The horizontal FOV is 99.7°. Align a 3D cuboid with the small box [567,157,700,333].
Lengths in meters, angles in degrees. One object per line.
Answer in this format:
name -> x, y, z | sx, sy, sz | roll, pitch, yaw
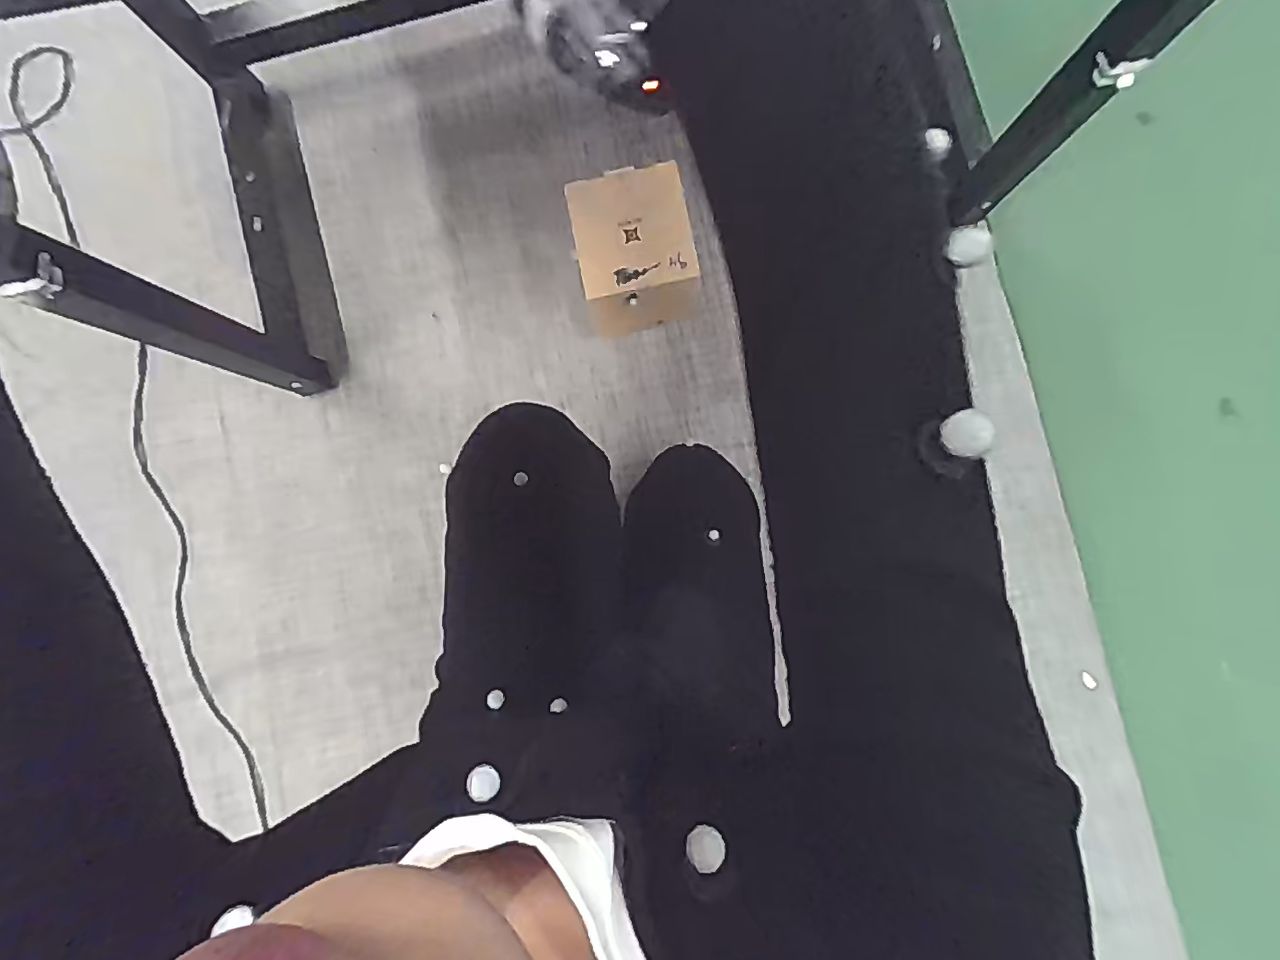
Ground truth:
small box -> -0.007, -0.353, 0.841 | 0.168, 0.176, 0.179 | -12, 85, 3
